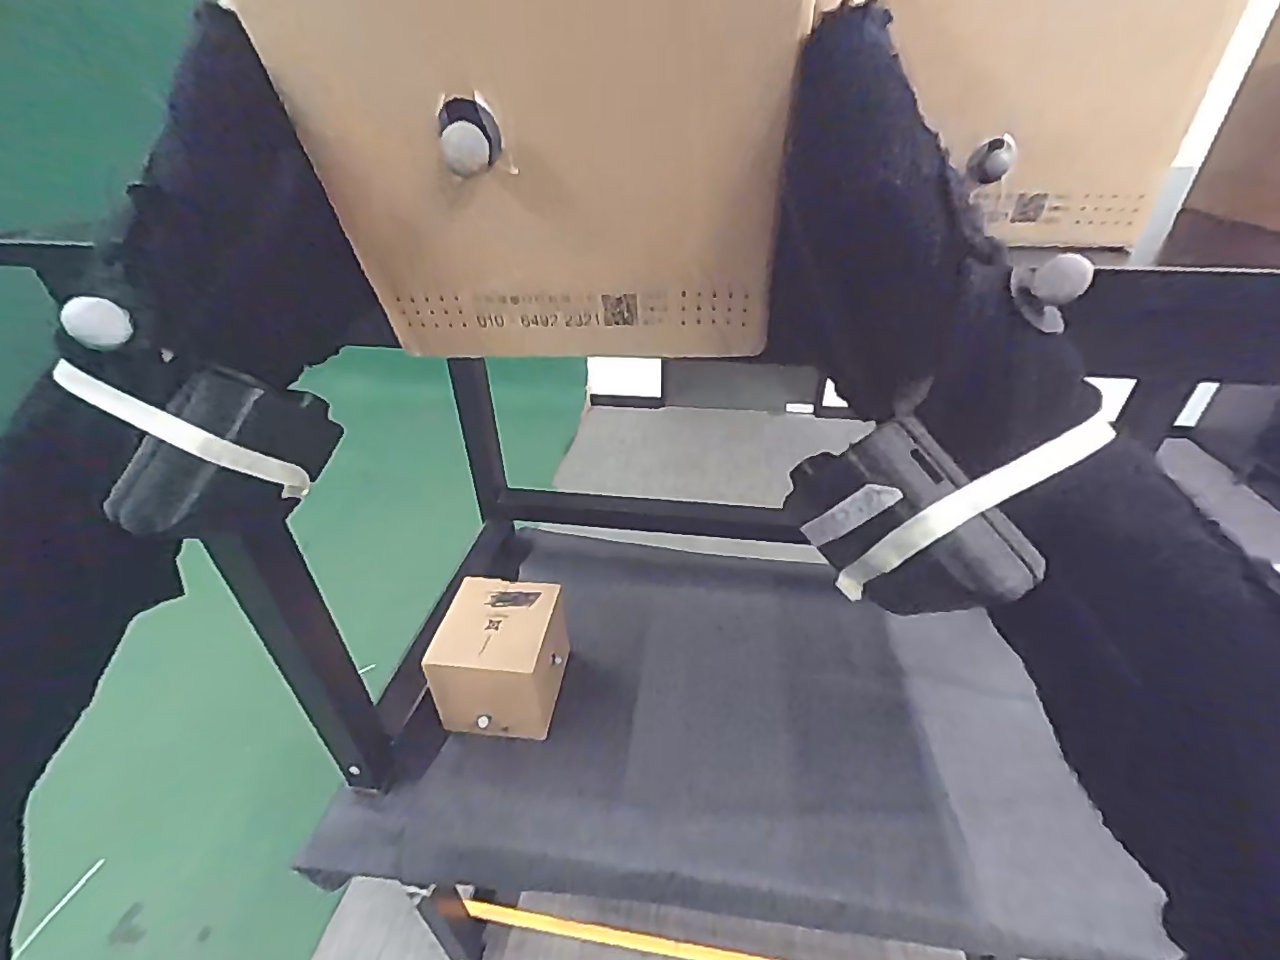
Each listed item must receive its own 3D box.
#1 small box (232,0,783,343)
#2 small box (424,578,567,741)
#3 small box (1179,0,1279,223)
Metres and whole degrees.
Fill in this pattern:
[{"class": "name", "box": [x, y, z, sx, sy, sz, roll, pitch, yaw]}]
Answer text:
[{"class": "small box", "box": [-0.030, -0.176, 0.239, 0.168, 0.176, 0.179, 0, 51, 5]}, {"class": "small box", "box": [-0.217, 0.282, 0.865, 0.168, 0.176, 0.179, 3, 34, 6]}, {"class": "small box", "box": [0.473, -0.235, 0.299, 0.168, 0.176, 0.179, 9, 34, 15]}]
